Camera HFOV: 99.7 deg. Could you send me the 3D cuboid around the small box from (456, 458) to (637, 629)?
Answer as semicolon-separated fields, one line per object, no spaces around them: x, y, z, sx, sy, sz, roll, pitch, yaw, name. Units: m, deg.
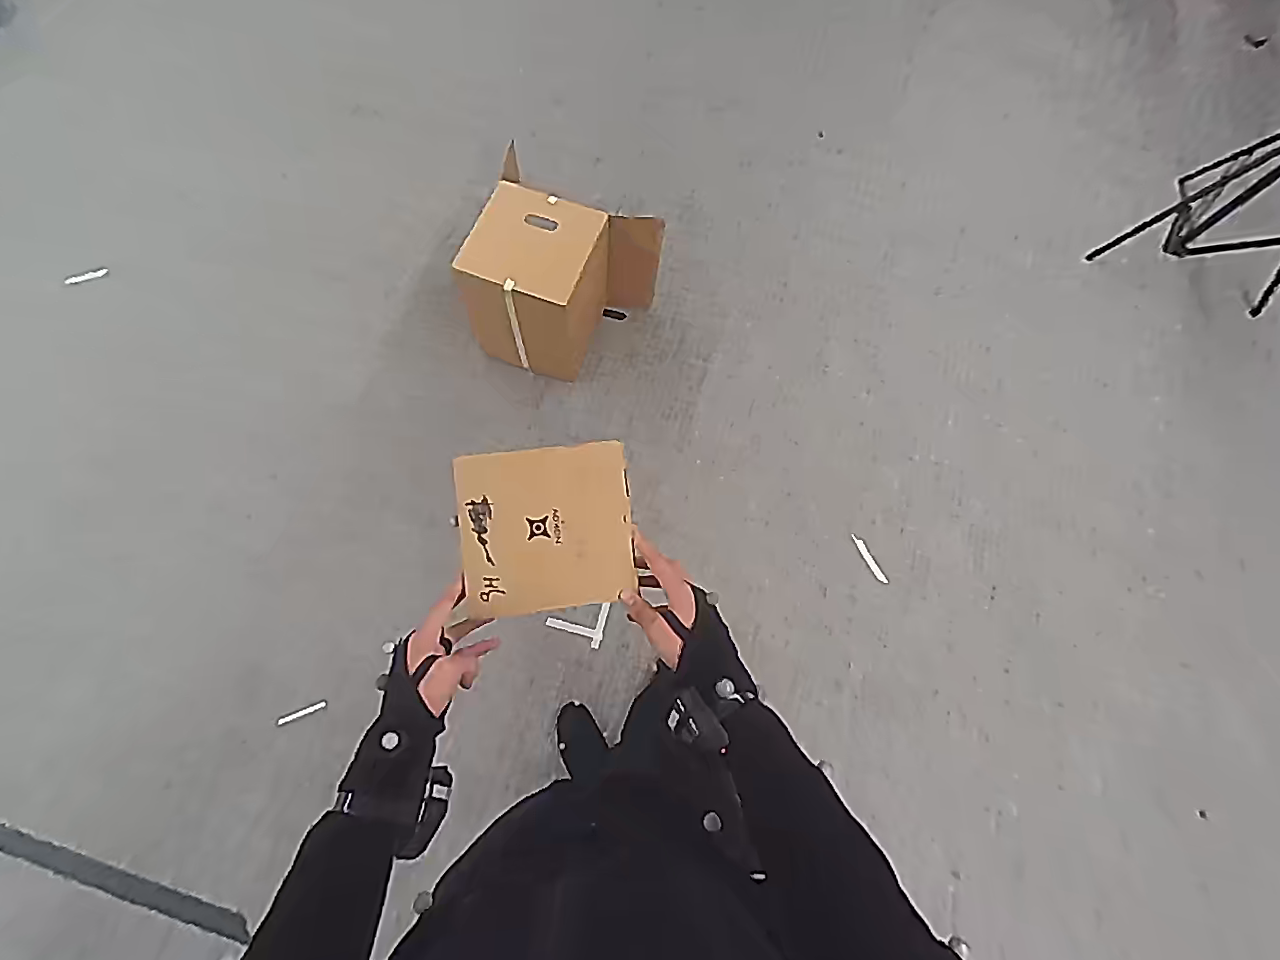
-0.105;0.068;0.641;0.179;0.176;0.168;-6;86;-6;small box
